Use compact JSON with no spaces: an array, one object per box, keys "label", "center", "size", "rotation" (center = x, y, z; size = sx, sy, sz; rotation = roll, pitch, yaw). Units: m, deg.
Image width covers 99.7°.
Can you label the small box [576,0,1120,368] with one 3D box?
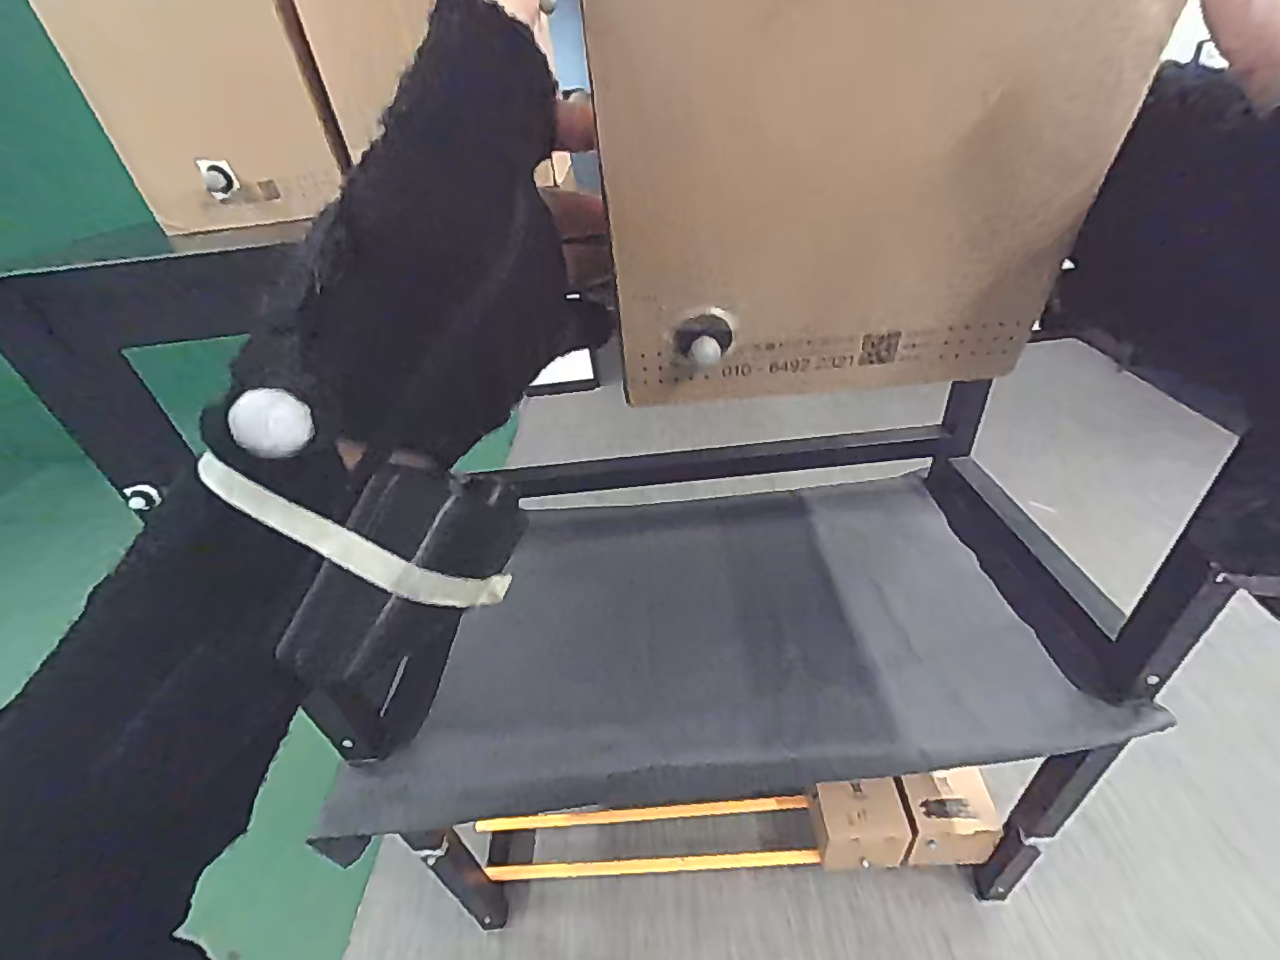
[{"label":"small box","center":[0.066,-0.161,0.240],"size":[0.168,0.176,0.179],"rotation":[-5,42,1]}]
